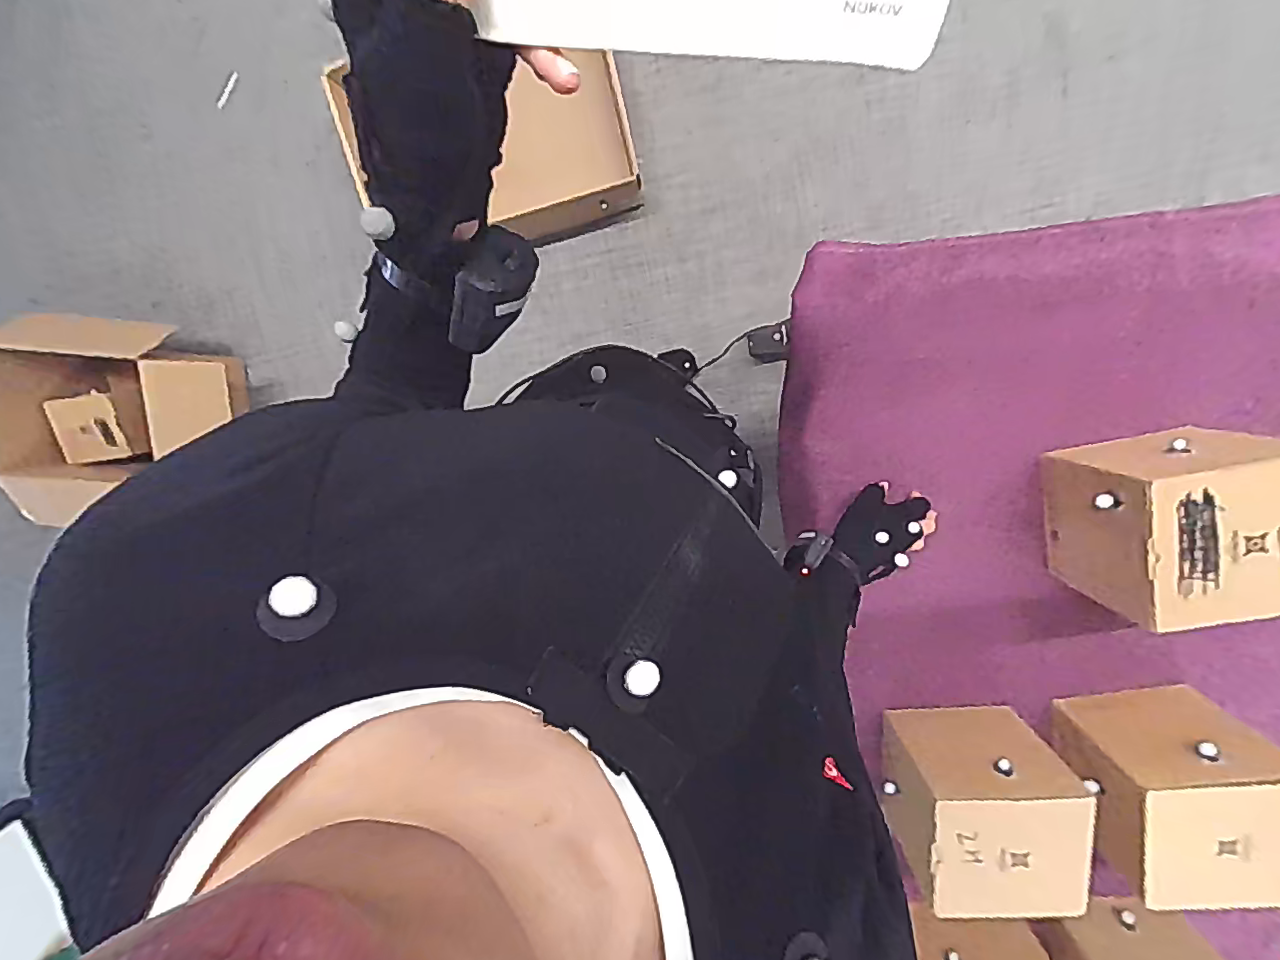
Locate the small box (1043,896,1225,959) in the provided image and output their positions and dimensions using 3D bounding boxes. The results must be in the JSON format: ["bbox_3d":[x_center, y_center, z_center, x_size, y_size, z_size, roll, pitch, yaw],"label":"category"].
[{"bbox_3d":[0.698,0.717,0.746,0.179,0.176,0.168,-2,102,6],"label":"small box"}]

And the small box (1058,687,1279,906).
[{"bbox_3d":[0.663,0.384,0.679,0.179,0.176,0.168,-10,101,6],"label":"small box"}]

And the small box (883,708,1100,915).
[{"bbox_3d":[0.438,0.416,0.702,0.179,0.176,0.168,-4,102,5],"label":"small box"}]
